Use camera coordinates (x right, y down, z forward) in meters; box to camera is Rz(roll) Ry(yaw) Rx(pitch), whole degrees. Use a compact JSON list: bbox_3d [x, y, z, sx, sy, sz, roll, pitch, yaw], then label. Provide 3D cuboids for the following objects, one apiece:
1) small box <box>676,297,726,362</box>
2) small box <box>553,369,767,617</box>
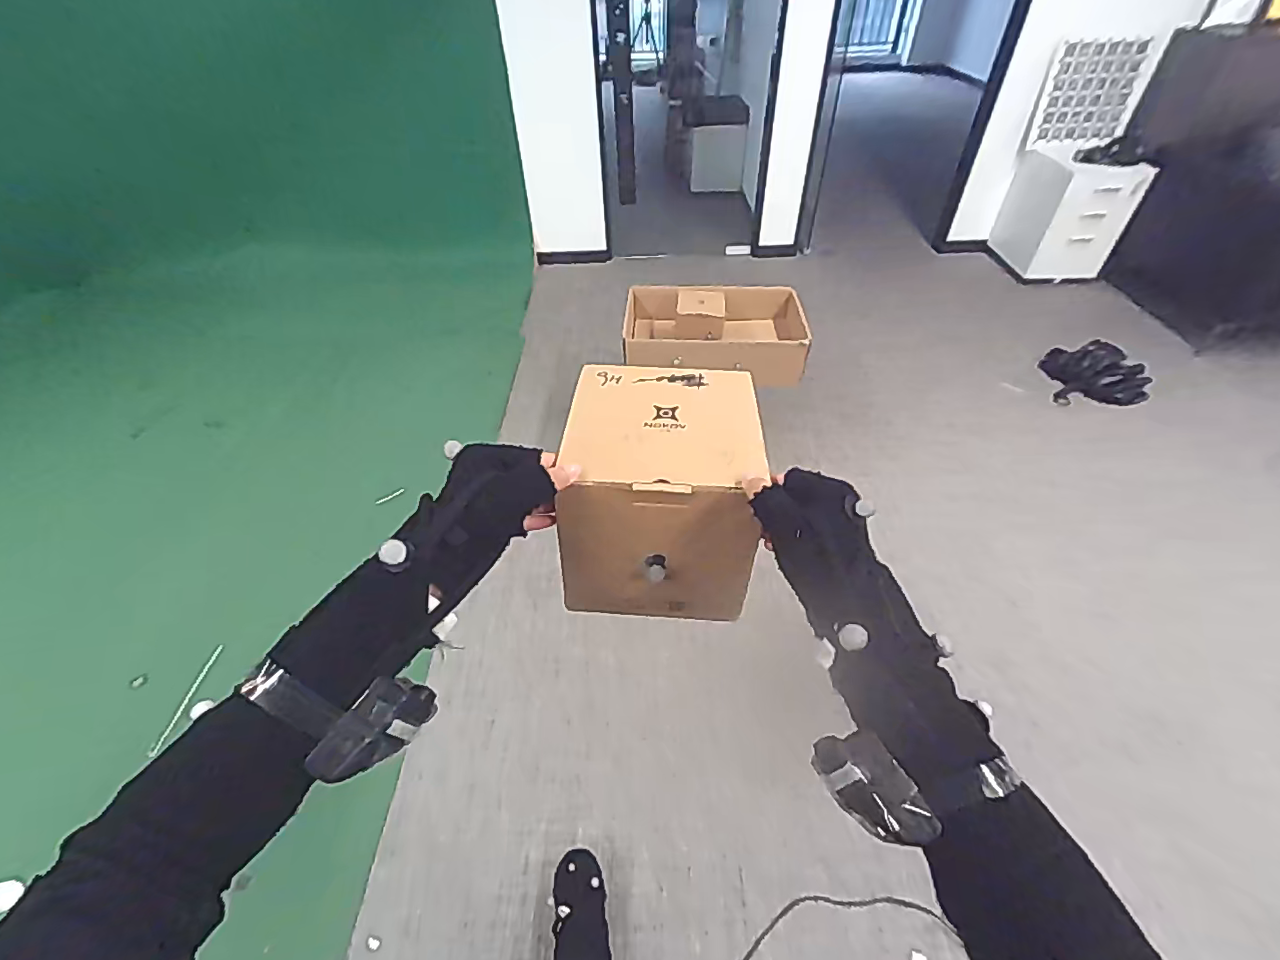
[{"bbox_3d":[0.219,-0.539,1.939,0.168,0.176,0.179,4,42,3],"label":"small box"},{"bbox_3d":[0.020,0.012,0.519,0.168,0.176,0.179,3,41,2],"label":"small box"}]
